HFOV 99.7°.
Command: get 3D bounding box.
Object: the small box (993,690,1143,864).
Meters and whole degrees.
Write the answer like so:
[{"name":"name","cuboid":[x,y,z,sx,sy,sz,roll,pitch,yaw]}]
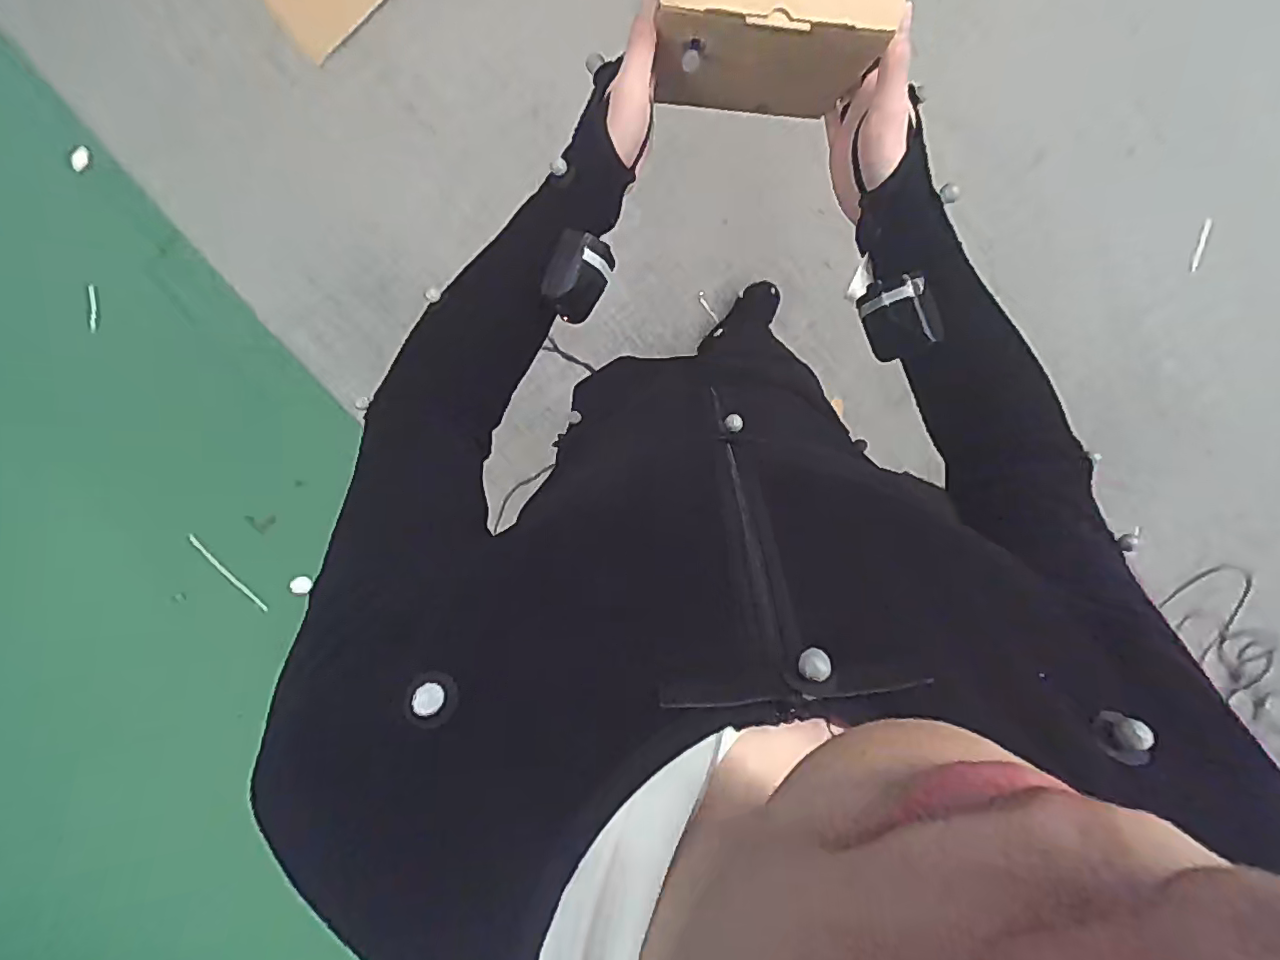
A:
[{"name":"small box","cuboid":[0.771,0.516,0.958,0.179,0.176,0.168,-37,102,8]}]
